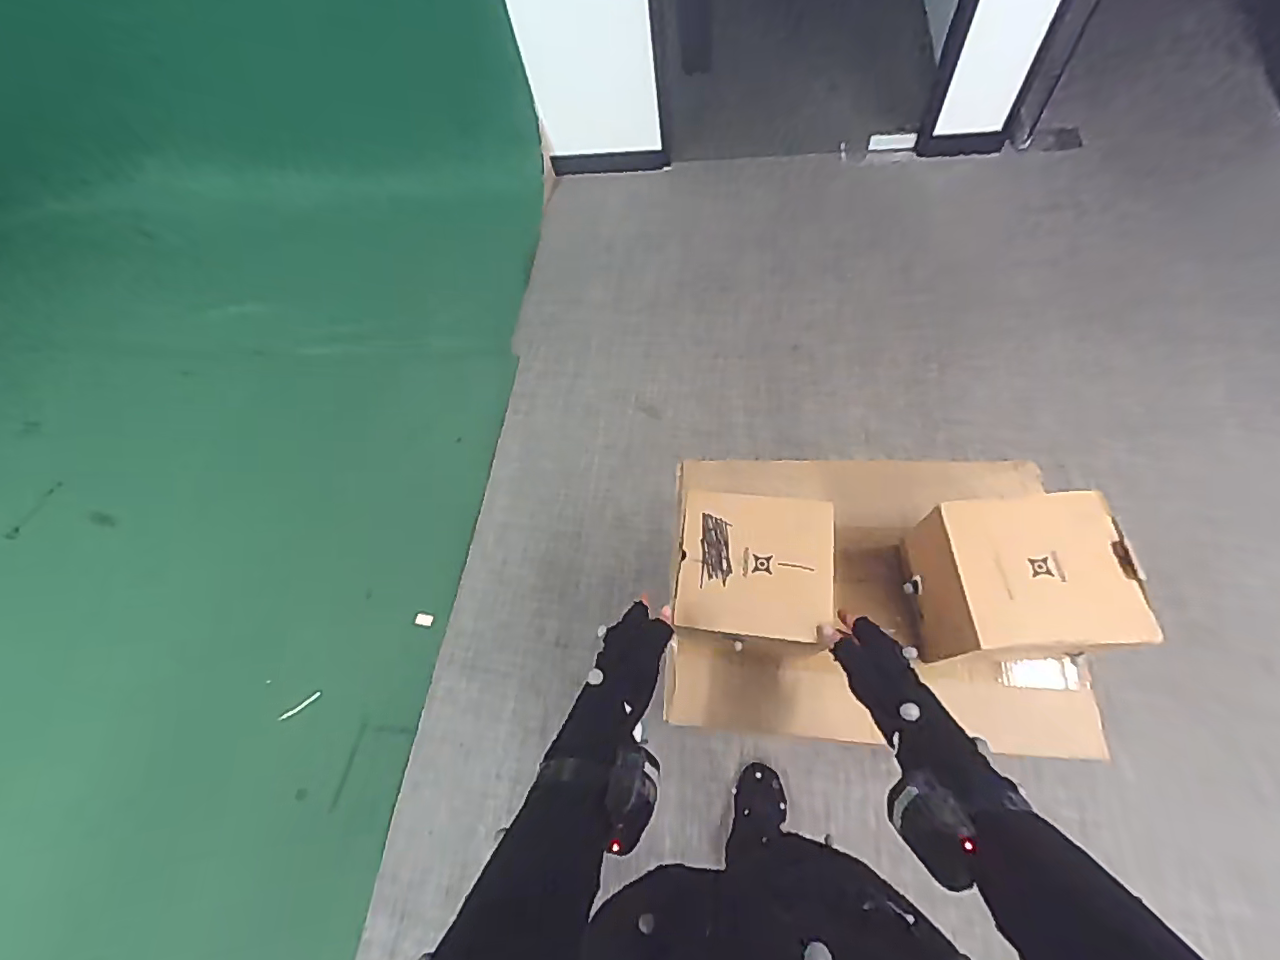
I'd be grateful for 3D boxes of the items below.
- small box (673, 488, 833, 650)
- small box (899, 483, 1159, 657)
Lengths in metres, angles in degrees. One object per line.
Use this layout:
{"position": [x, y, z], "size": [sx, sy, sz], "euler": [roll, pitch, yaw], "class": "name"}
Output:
{"position": [0.145, 0.120, 0.697], "size": [0.179, 0.176, 0.168], "euler": [4, 68, 11], "class": "small box"}
{"position": [0.441, 0.116, 0.651], "size": [0.179, 0.176, 0.168], "euler": [-7, 65, 7], "class": "small box"}
